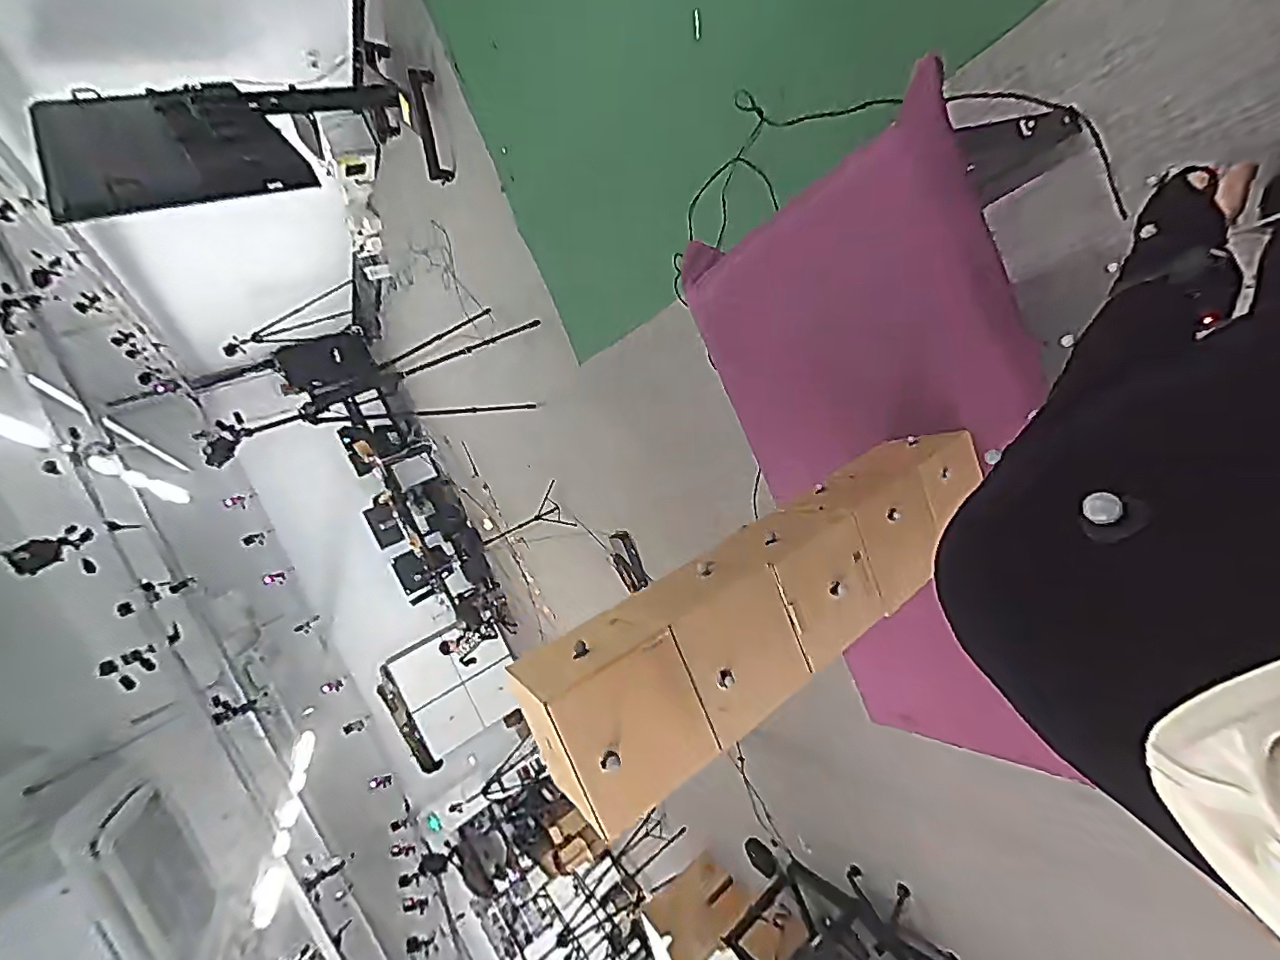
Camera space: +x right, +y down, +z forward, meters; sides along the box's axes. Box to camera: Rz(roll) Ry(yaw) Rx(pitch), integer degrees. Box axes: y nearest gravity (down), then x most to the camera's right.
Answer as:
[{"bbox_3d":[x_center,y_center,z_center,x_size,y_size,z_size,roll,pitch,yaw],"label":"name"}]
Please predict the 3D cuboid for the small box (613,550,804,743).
[{"bbox_3d":[0.095,0.213,0.744,0.168,0.176,0.179,-11,102,62],"label":"small box"}]

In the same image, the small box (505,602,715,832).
[{"bbox_3d":[-0.038,0.270,0.669,0.168,0.176,0.179,-10,104,61],"label":"small box"}]

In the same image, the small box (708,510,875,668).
[{"bbox_3d":[0.227,0.151,0.818,0.179,0.176,0.168,-7,105,61],"label":"small box"}]

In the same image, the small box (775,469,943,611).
[{"bbox_3d":[0.360,0.088,0.889,0.168,0.176,0.179,-7,106,61],"label":"small box"}]
